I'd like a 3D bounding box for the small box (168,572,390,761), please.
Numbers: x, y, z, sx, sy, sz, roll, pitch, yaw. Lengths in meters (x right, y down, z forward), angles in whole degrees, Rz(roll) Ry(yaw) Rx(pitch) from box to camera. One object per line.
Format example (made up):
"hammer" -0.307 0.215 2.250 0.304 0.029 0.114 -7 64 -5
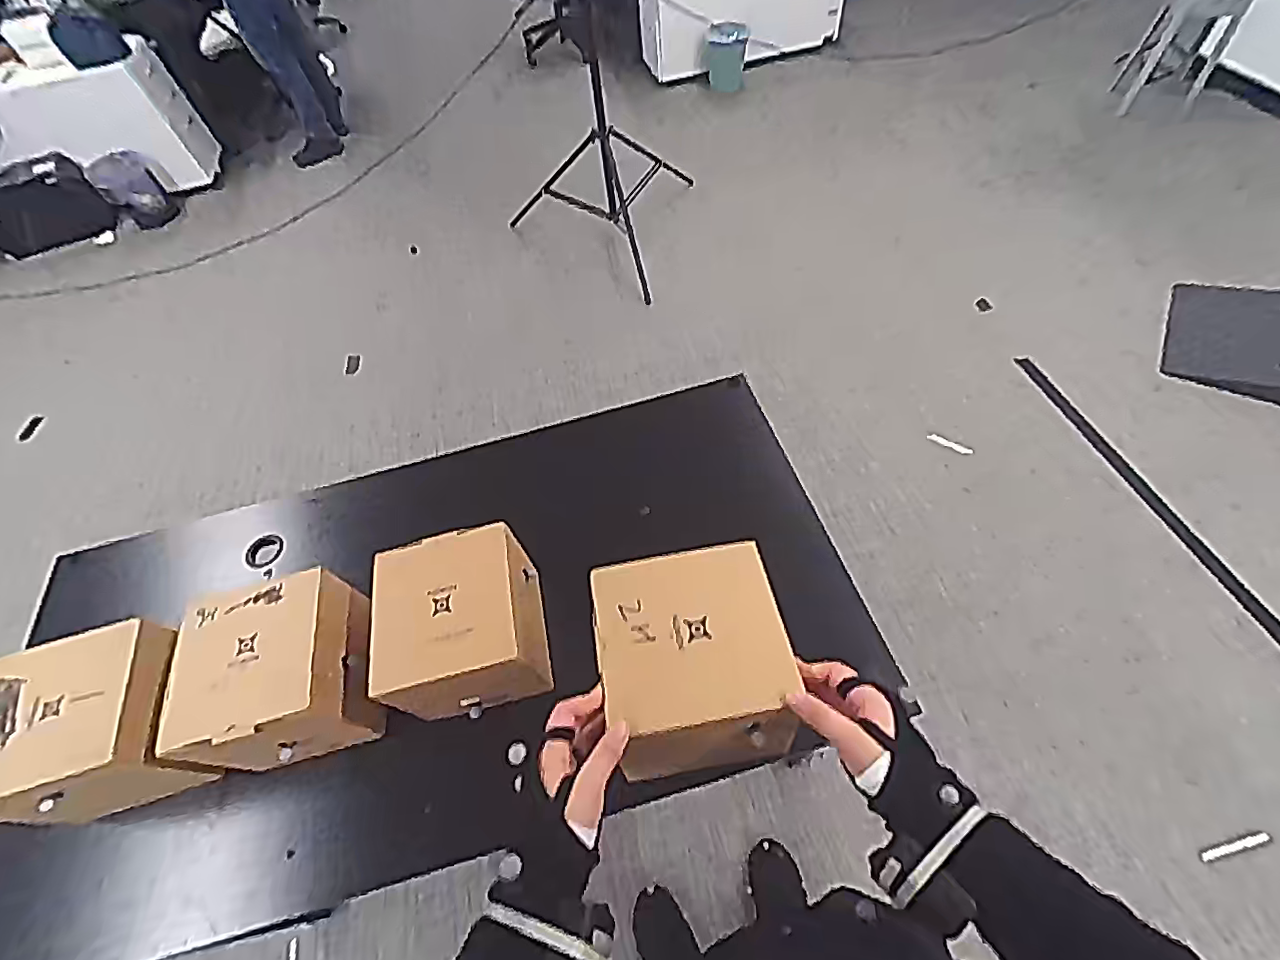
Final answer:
"small box" -0.435 0.245 0.689 0.168 0.176 0.179 -15 57 -3

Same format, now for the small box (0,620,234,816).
"small box" -0.643 0.302 0.674 0.179 0.176 0.168 -17 57 -6

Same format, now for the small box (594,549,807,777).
"small box" 0.055 0.197 0.573 0.179 0.176 0.168 -10 50 -1

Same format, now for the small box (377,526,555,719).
"small box" -0.217 0.189 0.702 0.168 0.176 0.179 -15 58 -2
